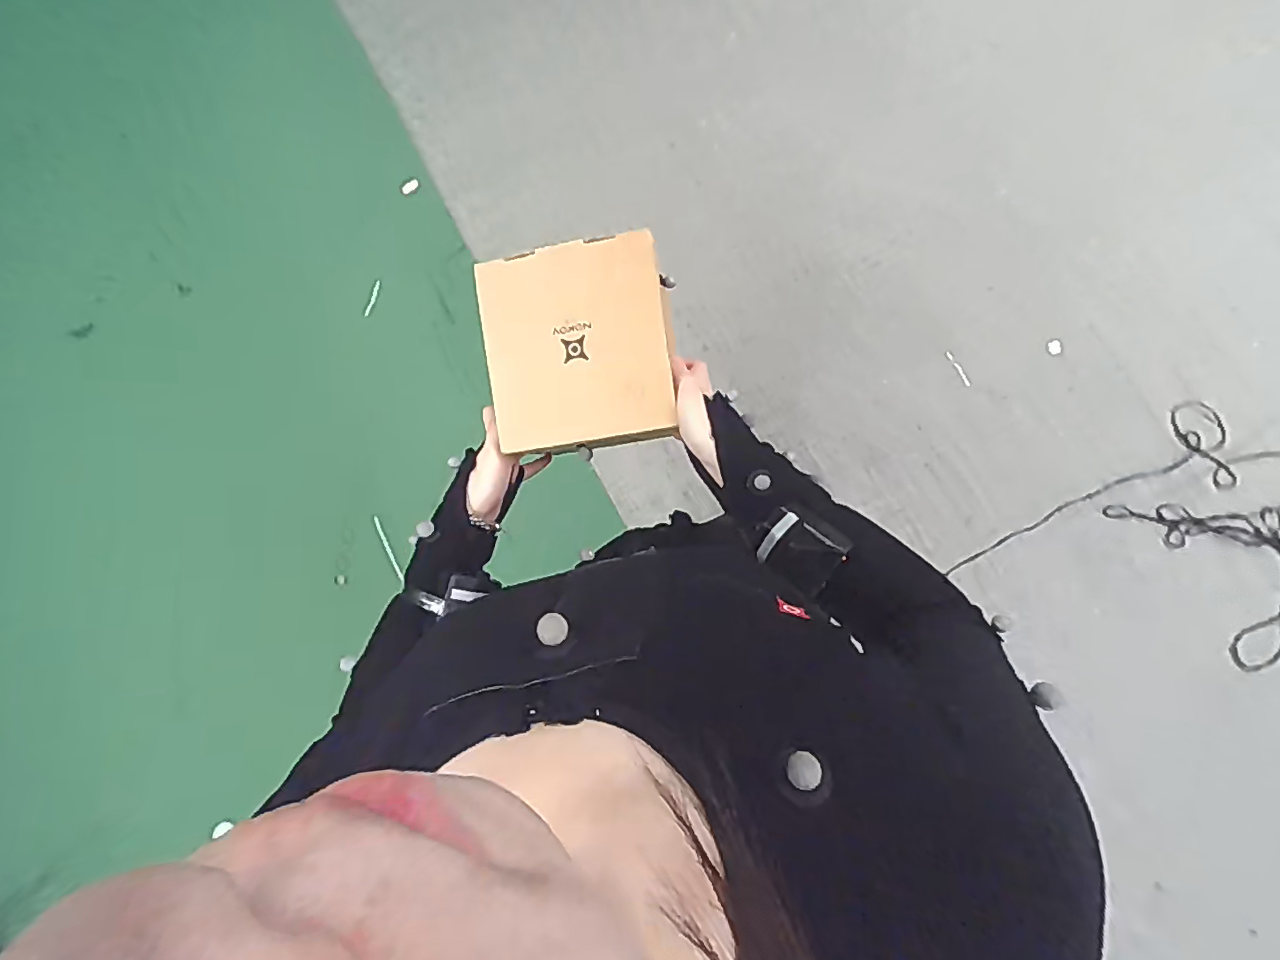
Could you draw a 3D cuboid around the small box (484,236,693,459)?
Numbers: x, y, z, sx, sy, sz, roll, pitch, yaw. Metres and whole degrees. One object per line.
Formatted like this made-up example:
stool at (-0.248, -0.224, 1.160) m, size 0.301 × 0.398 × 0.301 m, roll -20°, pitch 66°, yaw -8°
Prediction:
small box at (-0.039, -0.119, 0.557) m, size 0.168 × 0.176 × 0.179 m, roll -8°, pitch 91°, yaw 8°
